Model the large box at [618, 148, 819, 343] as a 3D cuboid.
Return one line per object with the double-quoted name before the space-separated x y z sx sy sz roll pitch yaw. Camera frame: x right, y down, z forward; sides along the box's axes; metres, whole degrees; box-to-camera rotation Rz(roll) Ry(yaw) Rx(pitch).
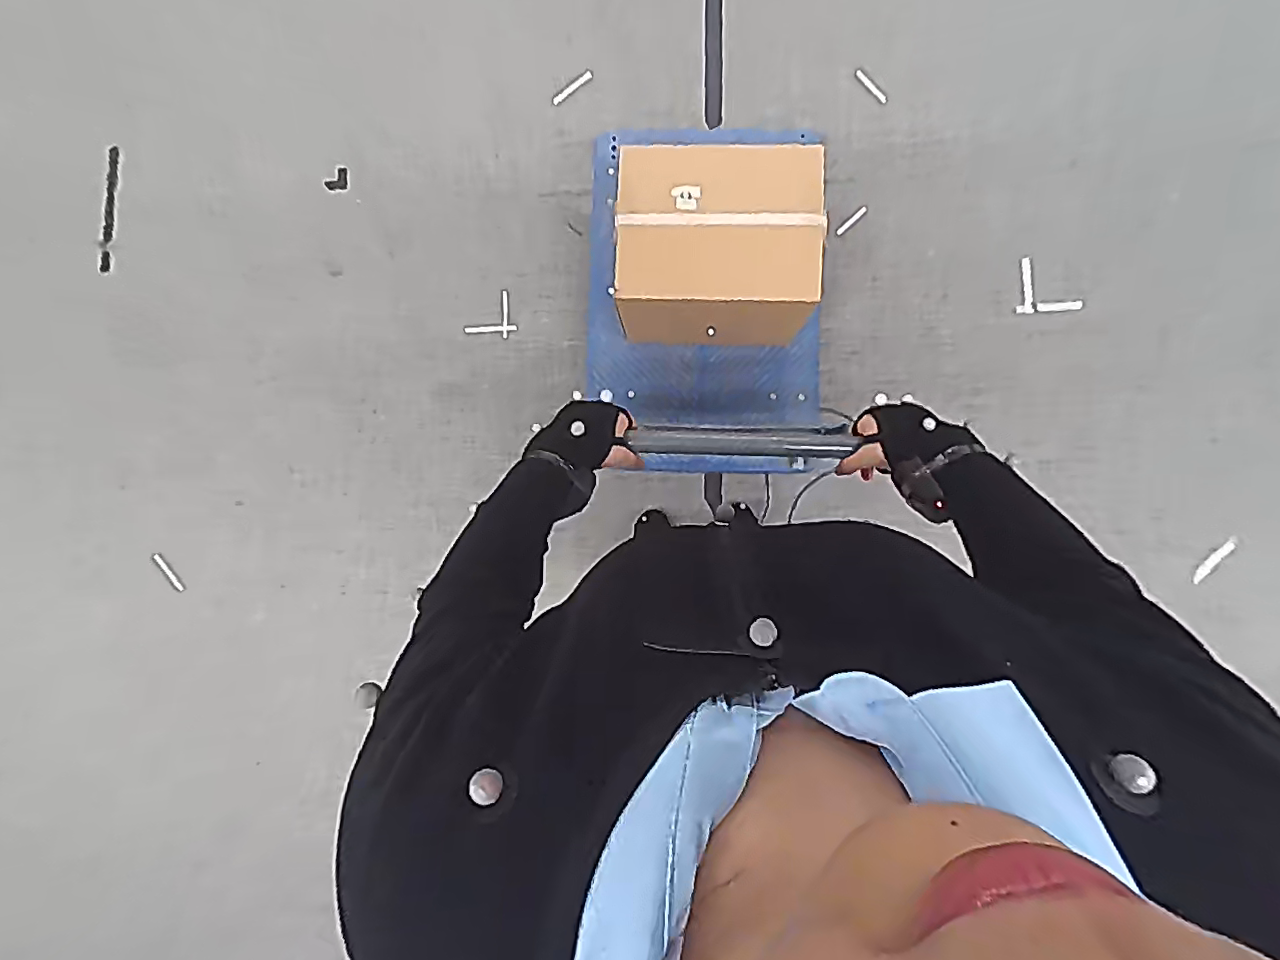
"large box" 0.170 -0.505 1.233 0.408 0.320 0.320 2 87 5
